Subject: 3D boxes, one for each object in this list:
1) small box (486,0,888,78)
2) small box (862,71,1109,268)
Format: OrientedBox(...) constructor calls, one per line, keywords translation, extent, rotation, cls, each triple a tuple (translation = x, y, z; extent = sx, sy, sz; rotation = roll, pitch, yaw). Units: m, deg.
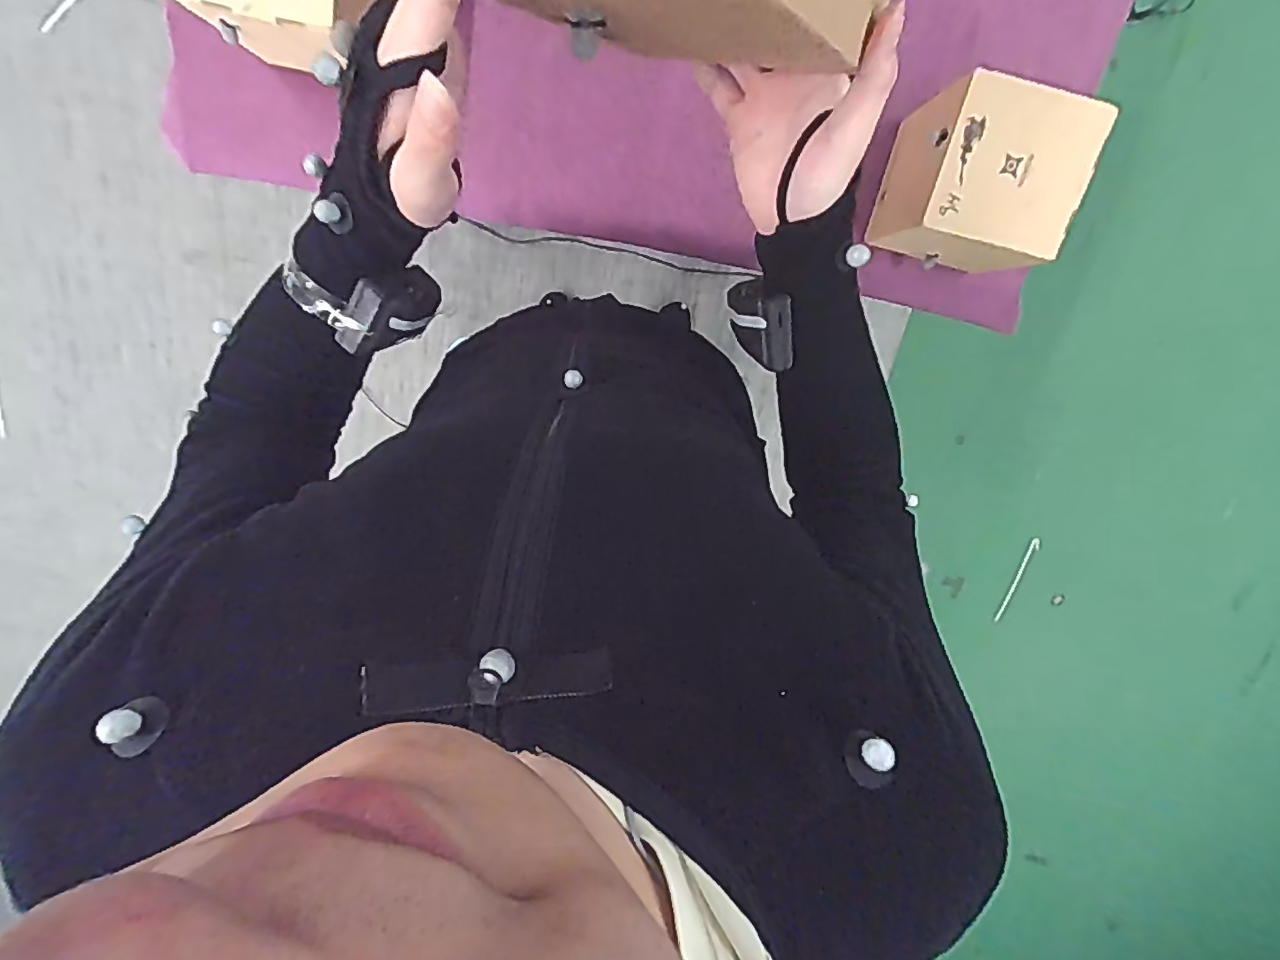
OrientedBox(translation=(0.029, -0.307, 0.241), extent=(0.176, 0.168, 0.179), rotation=(25, 124, 24), cls="small box")
OrientedBox(translation=(0.426, -0.380, 0.700), extent=(0.179, 0.176, 0.168), rotation=(12, 106, -6), cls="small box")
